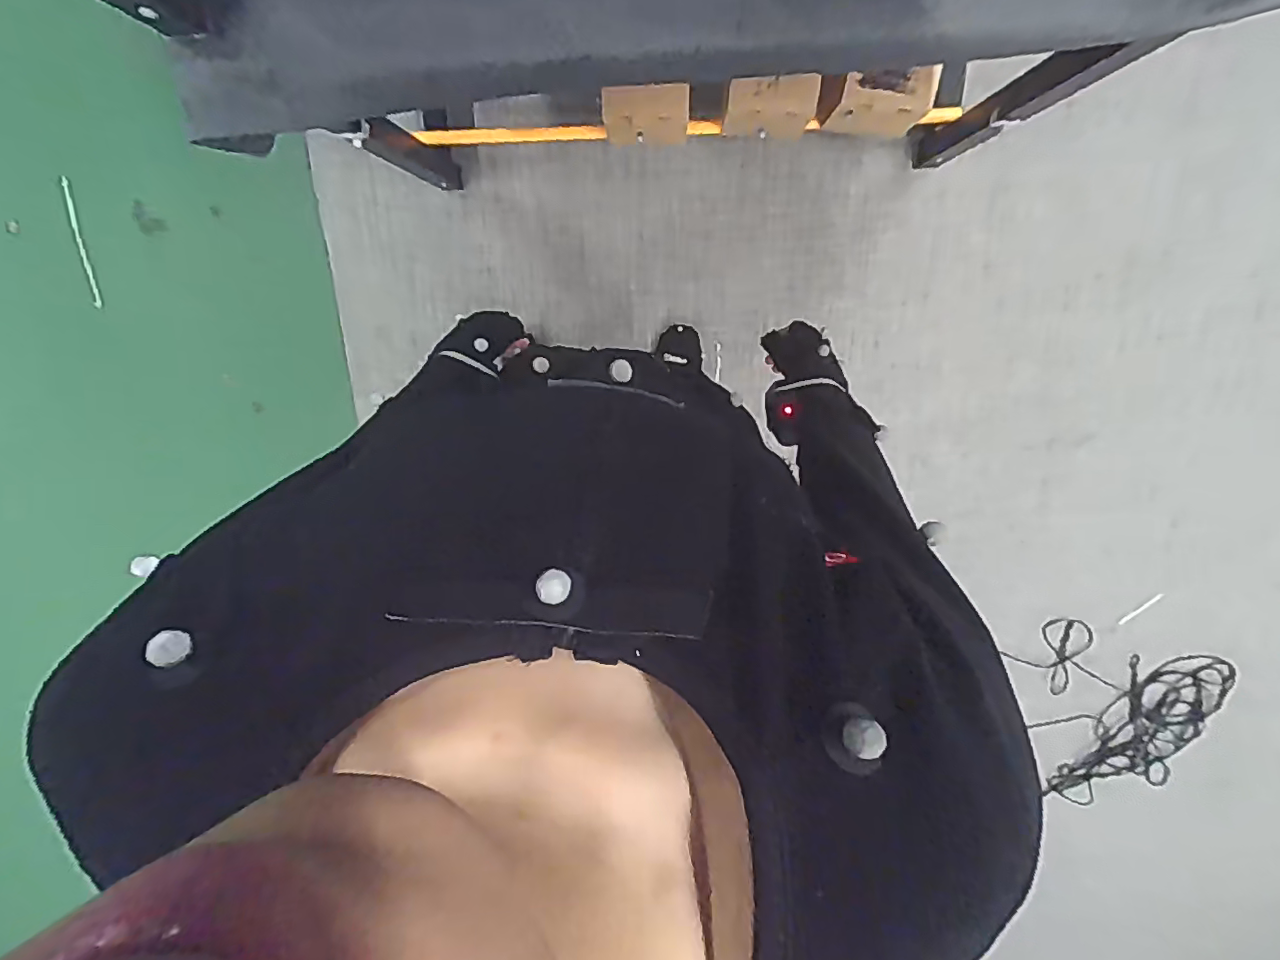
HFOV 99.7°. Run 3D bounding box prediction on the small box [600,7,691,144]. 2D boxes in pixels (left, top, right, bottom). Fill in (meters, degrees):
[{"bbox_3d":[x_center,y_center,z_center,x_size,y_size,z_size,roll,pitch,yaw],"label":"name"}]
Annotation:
[{"bbox_3d":[0.011,-0.785,1.066,0.168,0.176,0.179,1,110,2],"label":"small box"}]
